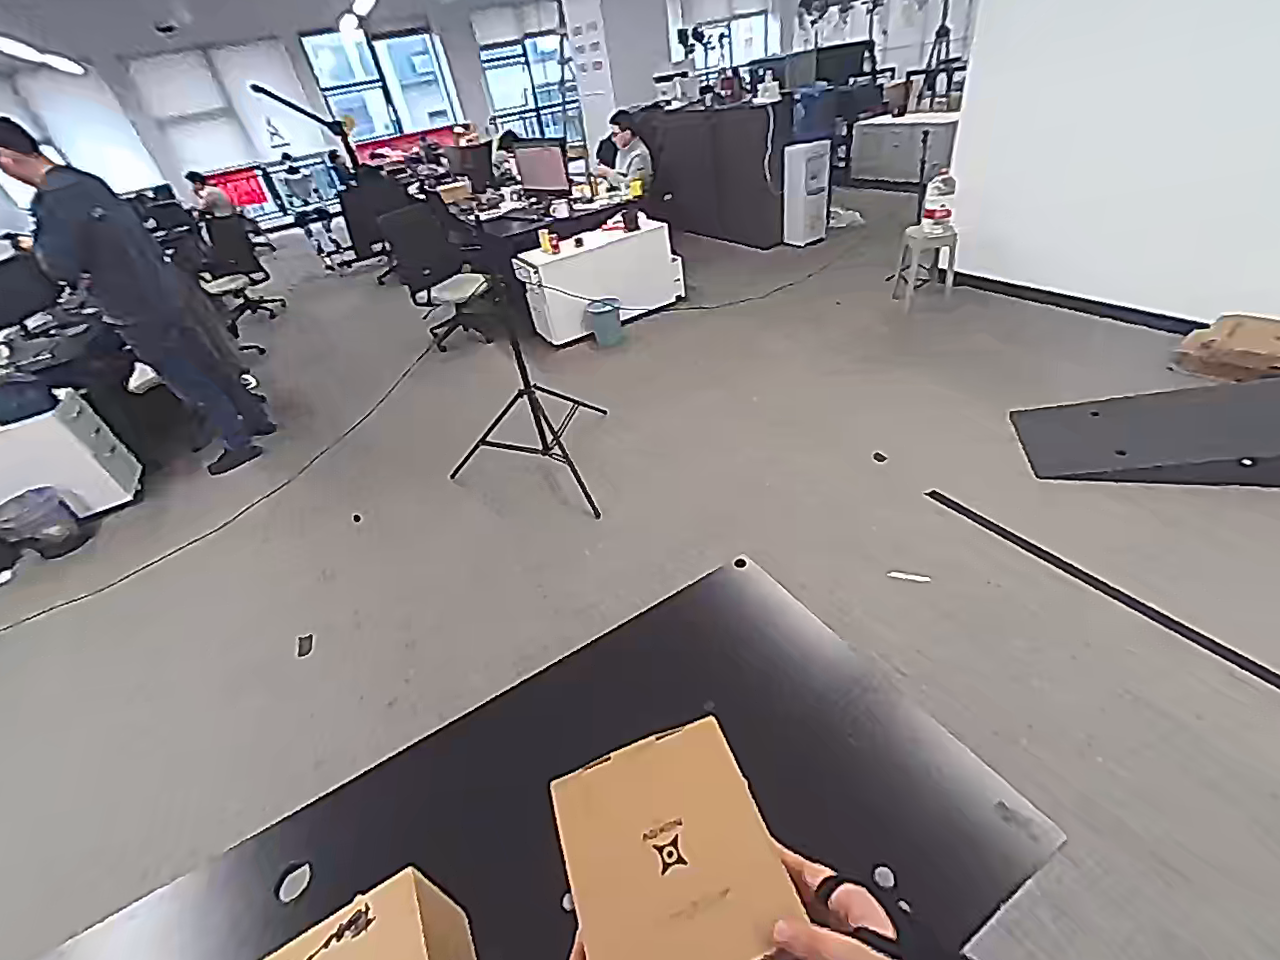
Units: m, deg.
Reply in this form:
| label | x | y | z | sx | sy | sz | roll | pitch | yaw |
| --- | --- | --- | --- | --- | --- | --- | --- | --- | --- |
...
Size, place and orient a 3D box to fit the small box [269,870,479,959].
| label | x | y | z | sx | sy | sz | roll | pitch | yaw |
| --- | --- | --- | --- | --- | --- | --- | --- | --- | --- |
| small box | -0.257 | 0.554 | 0.547 | 0.168 | 0.176 | 0.179 | -25 | 40 | -18 |

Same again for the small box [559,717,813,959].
| label | x | y | z | sx | sy | sz | roll | pitch | yaw |
| --- | --- | --- | --- | --- | --- | --- | --- | --- | --- |
| small box | 0.035 | 0.364 | 0.505 | 0.168 | 0.176 | 0.179 | -18 | 44 | -10 |
